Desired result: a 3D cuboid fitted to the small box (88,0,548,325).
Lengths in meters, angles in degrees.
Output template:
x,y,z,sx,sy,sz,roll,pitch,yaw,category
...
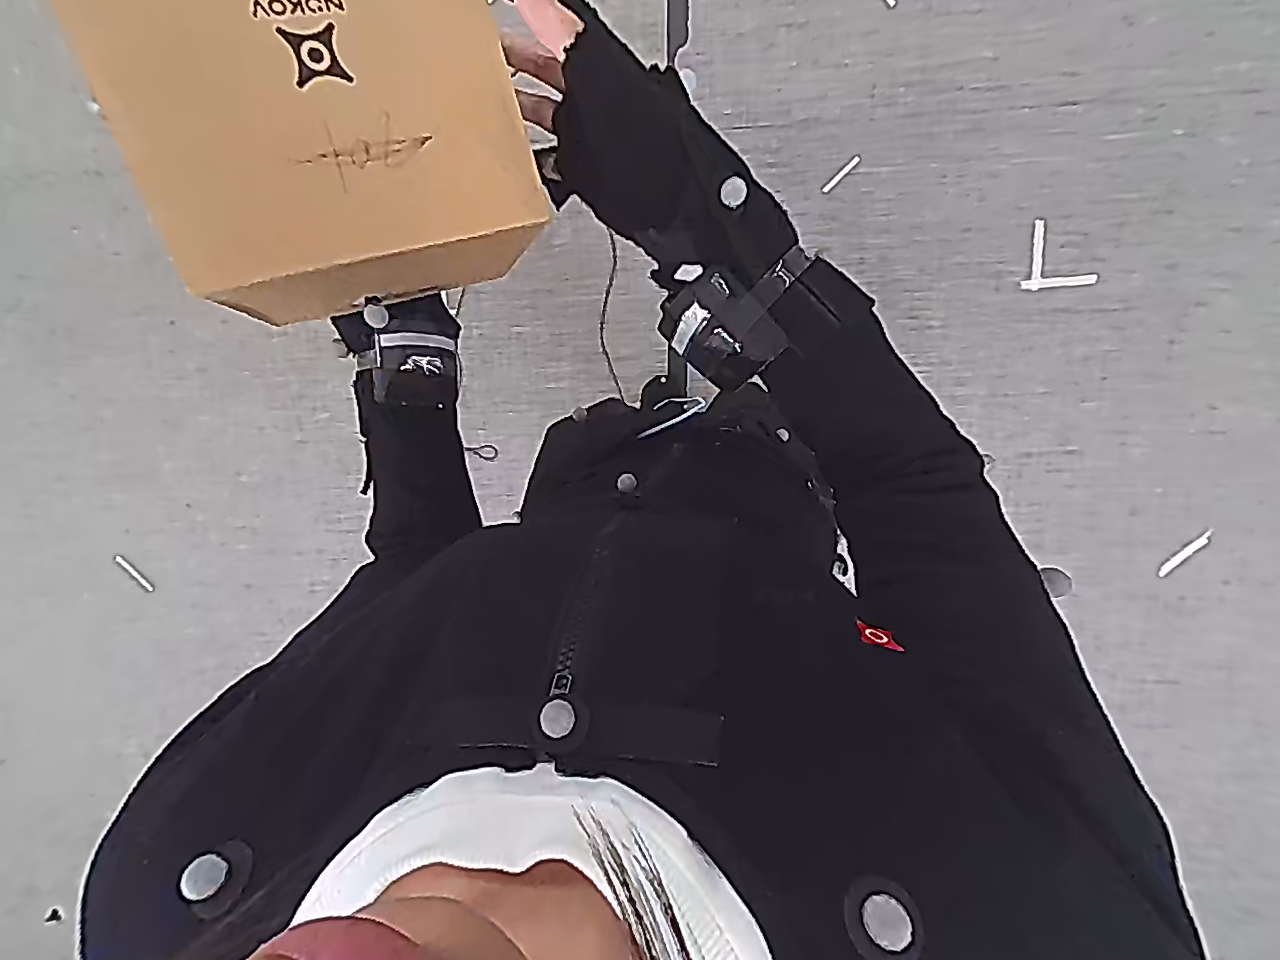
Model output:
x,y,z,sx,sy,sz,roll,pitch,yaw,category
-0.174,-0.205,0.322,0.168,0.176,0.179,-21,106,-17,small box
